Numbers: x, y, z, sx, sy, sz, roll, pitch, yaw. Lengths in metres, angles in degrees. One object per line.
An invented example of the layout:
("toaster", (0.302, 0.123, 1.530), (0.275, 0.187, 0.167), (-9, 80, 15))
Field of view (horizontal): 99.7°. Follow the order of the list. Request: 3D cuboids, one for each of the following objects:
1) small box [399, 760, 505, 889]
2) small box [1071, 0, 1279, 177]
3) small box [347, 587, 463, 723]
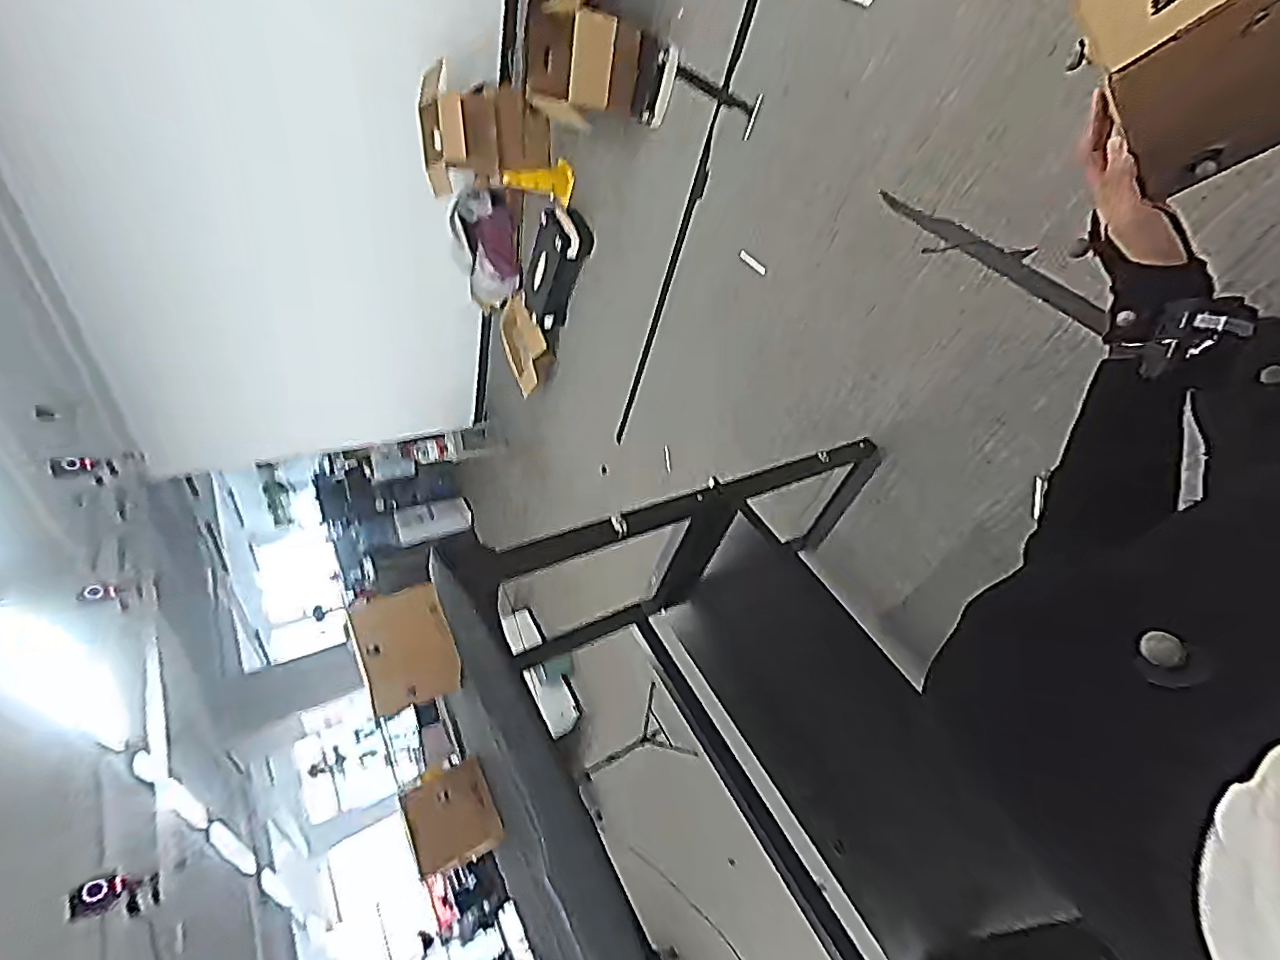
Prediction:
("small box", (-0.400, 0.729, 1.152), (0.168, 0.176, 0.179), (57, 144, 27))
("small box", (0.404, -0.339, 0.357), (0.168, 0.176, 0.179), (-21, 65, 45))
("small box", (-0.464, 0.347, 1.083), (0.168, 0.176, 0.179), (52, 142, 30))
